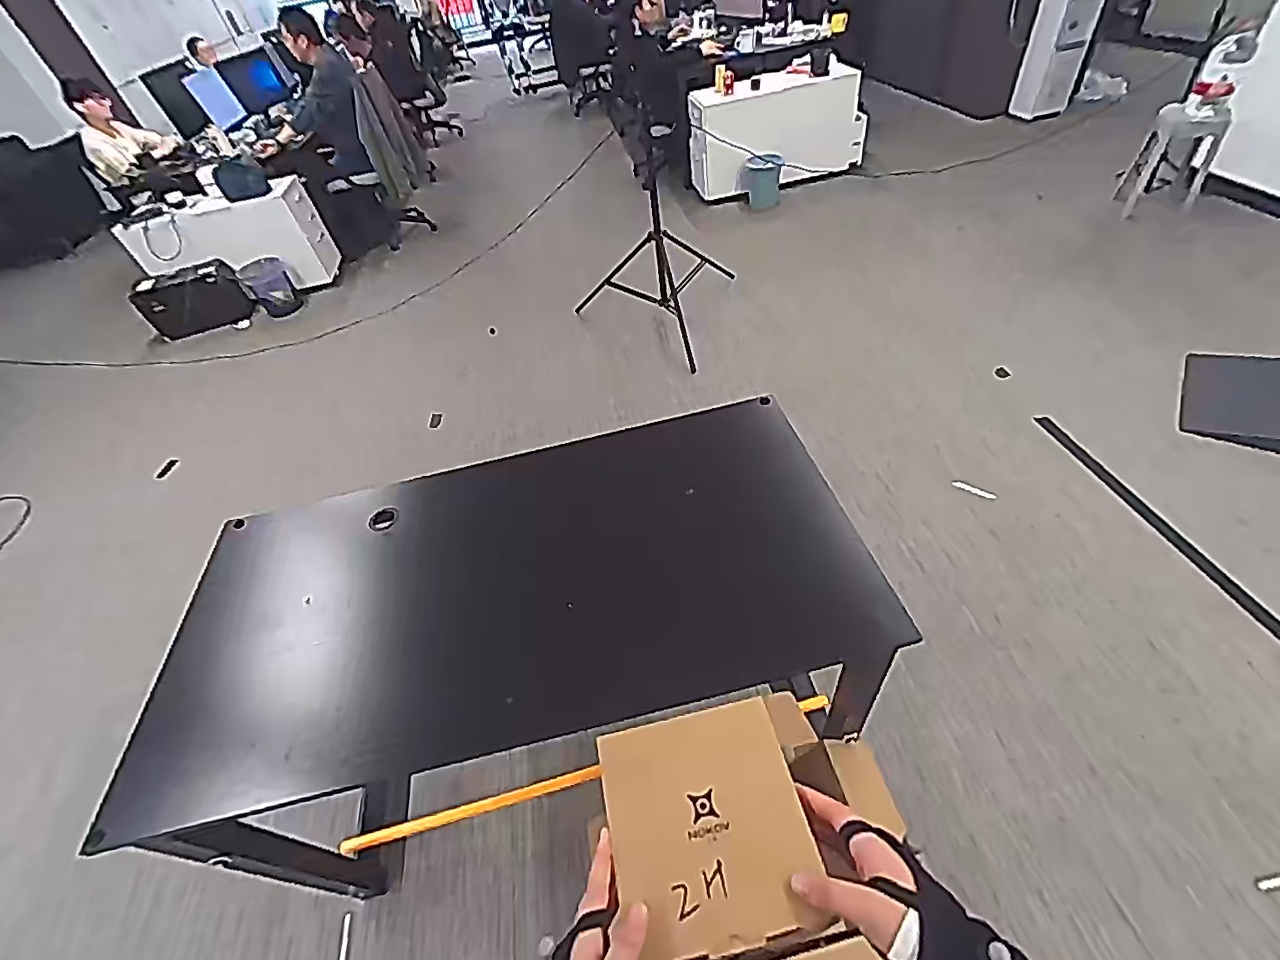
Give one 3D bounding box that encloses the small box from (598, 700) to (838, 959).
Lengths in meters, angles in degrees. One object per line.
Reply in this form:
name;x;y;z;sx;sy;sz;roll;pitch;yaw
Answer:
small box;0.063;0.343;0.515;0.168;0.176;0.179;-14;47;-3
